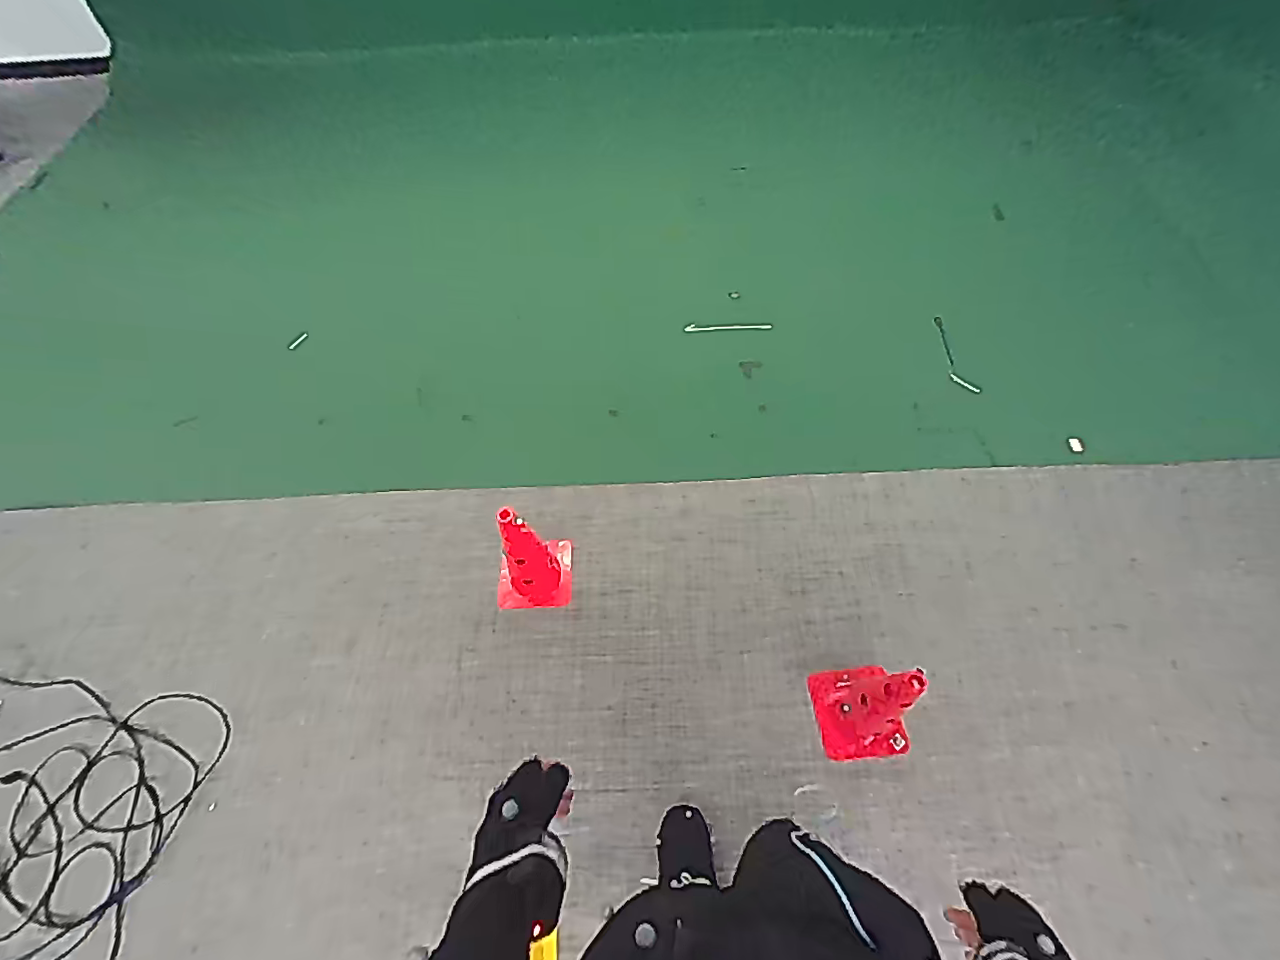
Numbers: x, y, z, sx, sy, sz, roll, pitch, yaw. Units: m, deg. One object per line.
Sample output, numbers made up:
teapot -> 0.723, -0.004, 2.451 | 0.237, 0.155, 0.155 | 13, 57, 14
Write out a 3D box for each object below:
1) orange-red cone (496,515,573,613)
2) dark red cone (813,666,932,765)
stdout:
orange-red cone -> -0.297, 0.186, 1.372 | 0.198, 0.360, 0.199 | -3, 59, 2
dark red cone -> 0.520, 0.462, 1.137 | 0.202, 0.394, 0.201 | -7, 57, -2
